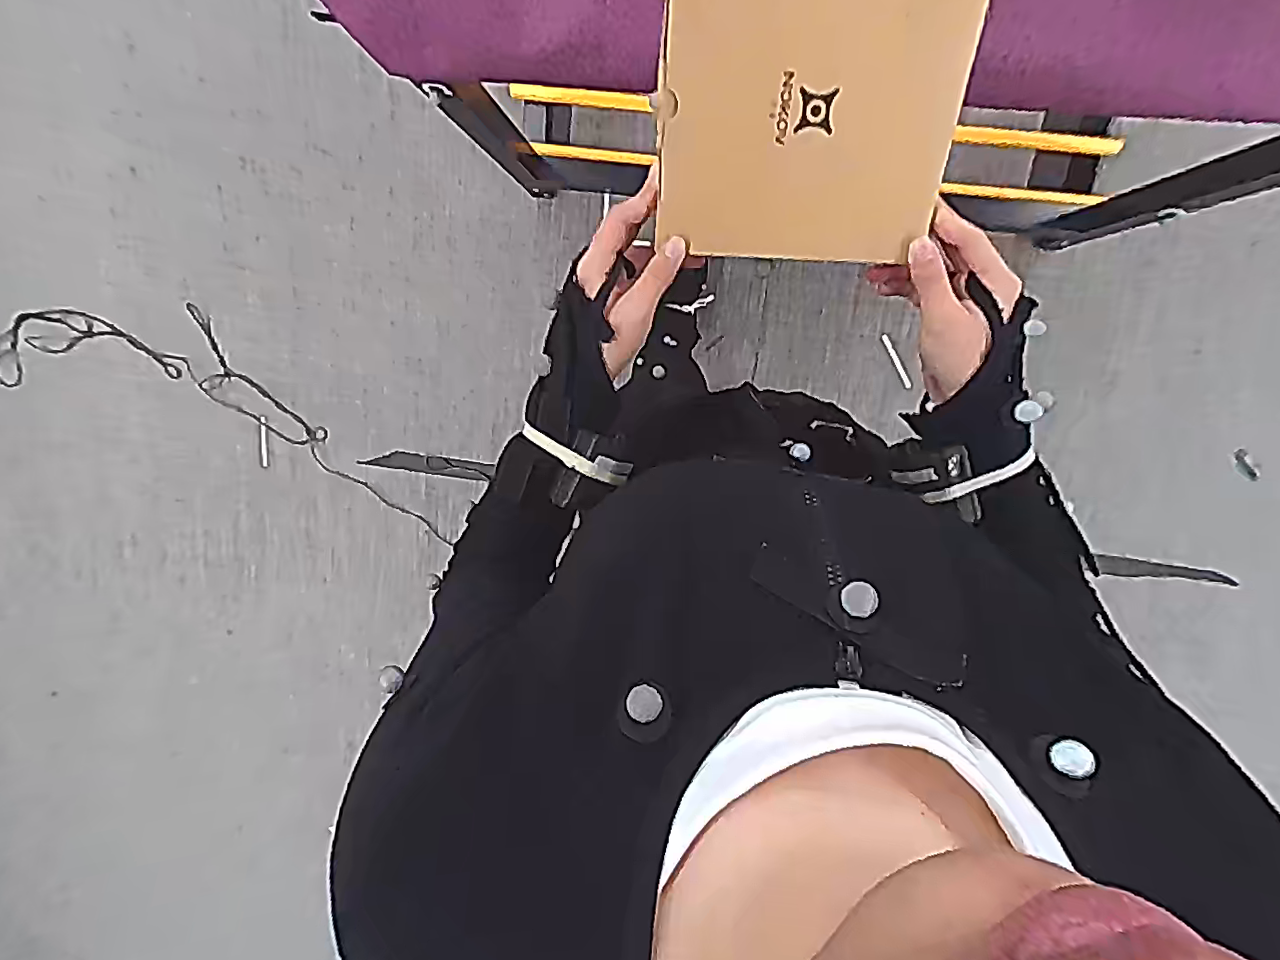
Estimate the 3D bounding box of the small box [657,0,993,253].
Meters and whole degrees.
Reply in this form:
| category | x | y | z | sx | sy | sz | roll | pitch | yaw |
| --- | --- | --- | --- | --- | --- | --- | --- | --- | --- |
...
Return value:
| category | x | y | z | sx | sy | sz | roll | pitch | yaw |
| --- | --- | --- | --- | --- | --- | --- | --- | --- | --- |
| small box | 0.104 | -0.261 | 0.379 | 0.179 | 0.176 | 0.168 | 3 | 119 | 3 |
